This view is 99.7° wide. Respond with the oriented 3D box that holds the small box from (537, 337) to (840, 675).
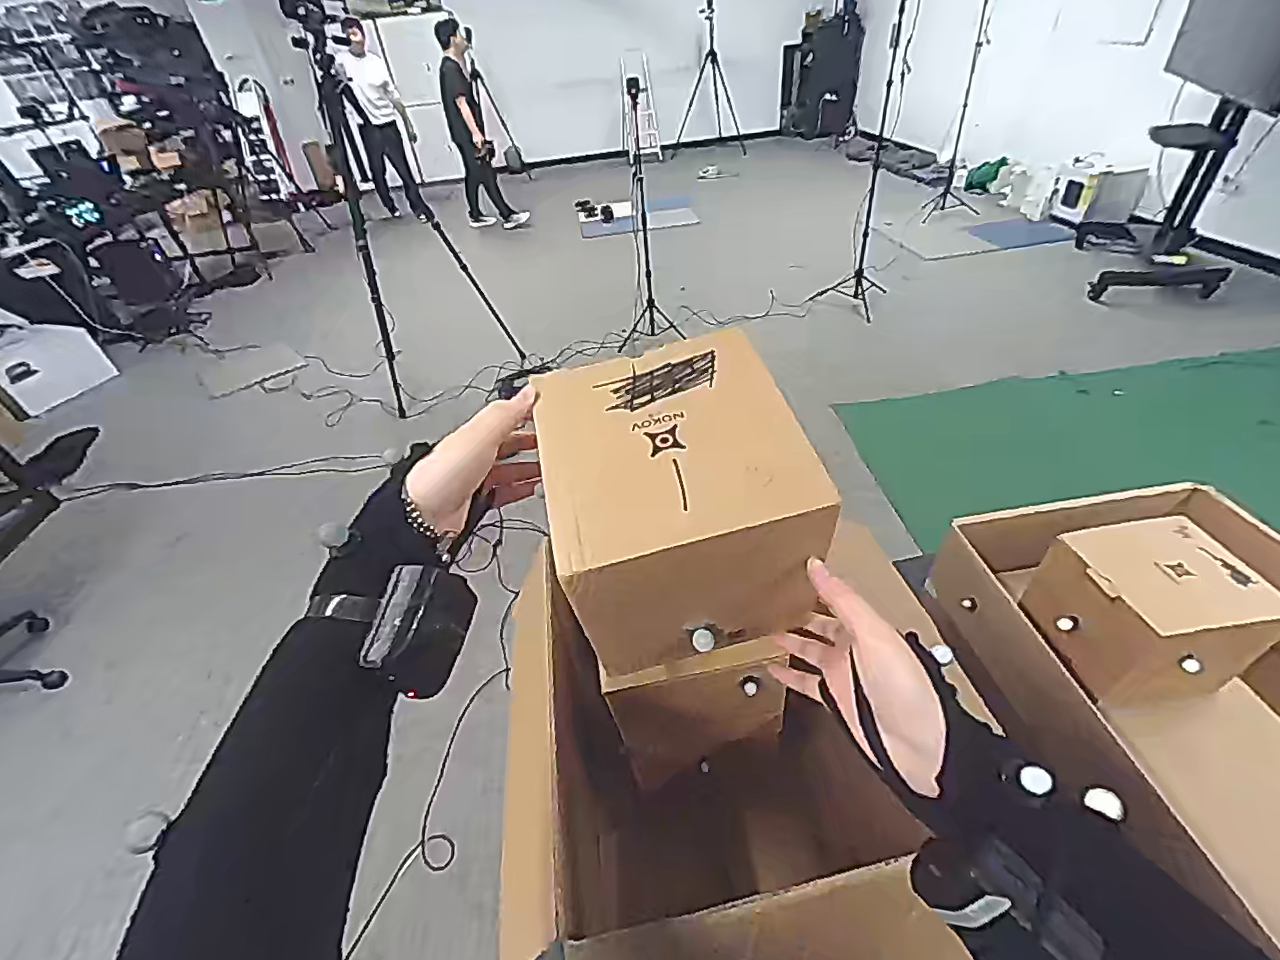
[{"bbox_3d":[0.027,0.023,0.416,0.168,0.176,0.179,-14,52,-2],"label":"small box"}]
